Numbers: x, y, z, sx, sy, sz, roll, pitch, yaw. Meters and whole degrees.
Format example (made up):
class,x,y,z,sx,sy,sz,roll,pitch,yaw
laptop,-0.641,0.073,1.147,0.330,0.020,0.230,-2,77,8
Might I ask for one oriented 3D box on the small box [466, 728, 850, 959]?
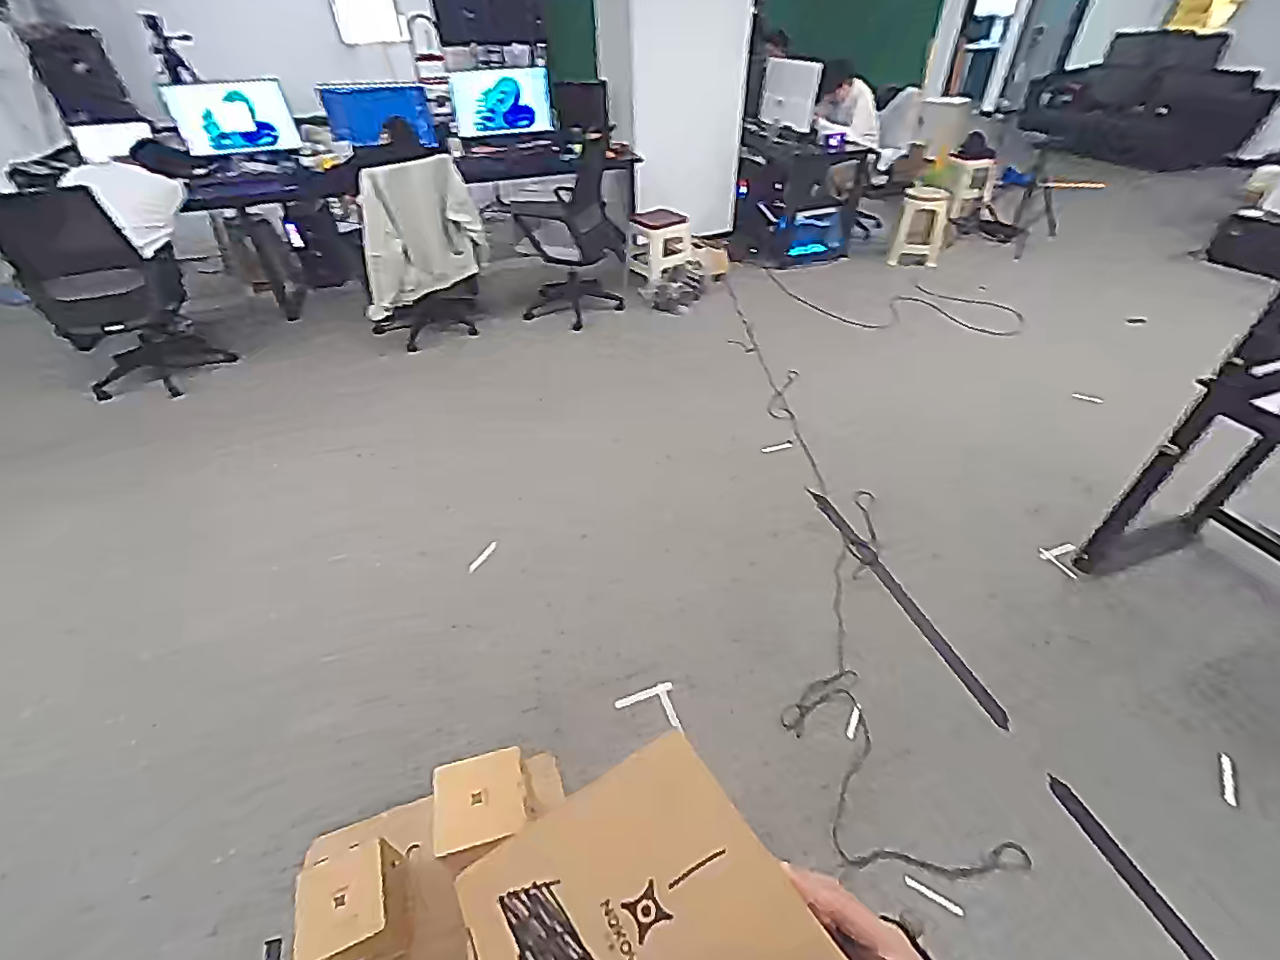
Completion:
class,x,y,z,sx,sy,sz,roll,pitch,yaw
small box,0.013,0.317,0.359,0.179,0.176,0.168,-25,39,-19

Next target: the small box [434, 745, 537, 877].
class,x,y,z,sx,sy,sz,roll,pitch,yaw
small box,-0.314,0.685,1.116,0.179,0.176,0.168,-11,42,-11

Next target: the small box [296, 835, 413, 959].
class,x,y,z,sx,sy,sz,roll,pitch,yaw
small box,-0.593,0.898,1.135,0.168,0.176,0.179,-19,43,-16
